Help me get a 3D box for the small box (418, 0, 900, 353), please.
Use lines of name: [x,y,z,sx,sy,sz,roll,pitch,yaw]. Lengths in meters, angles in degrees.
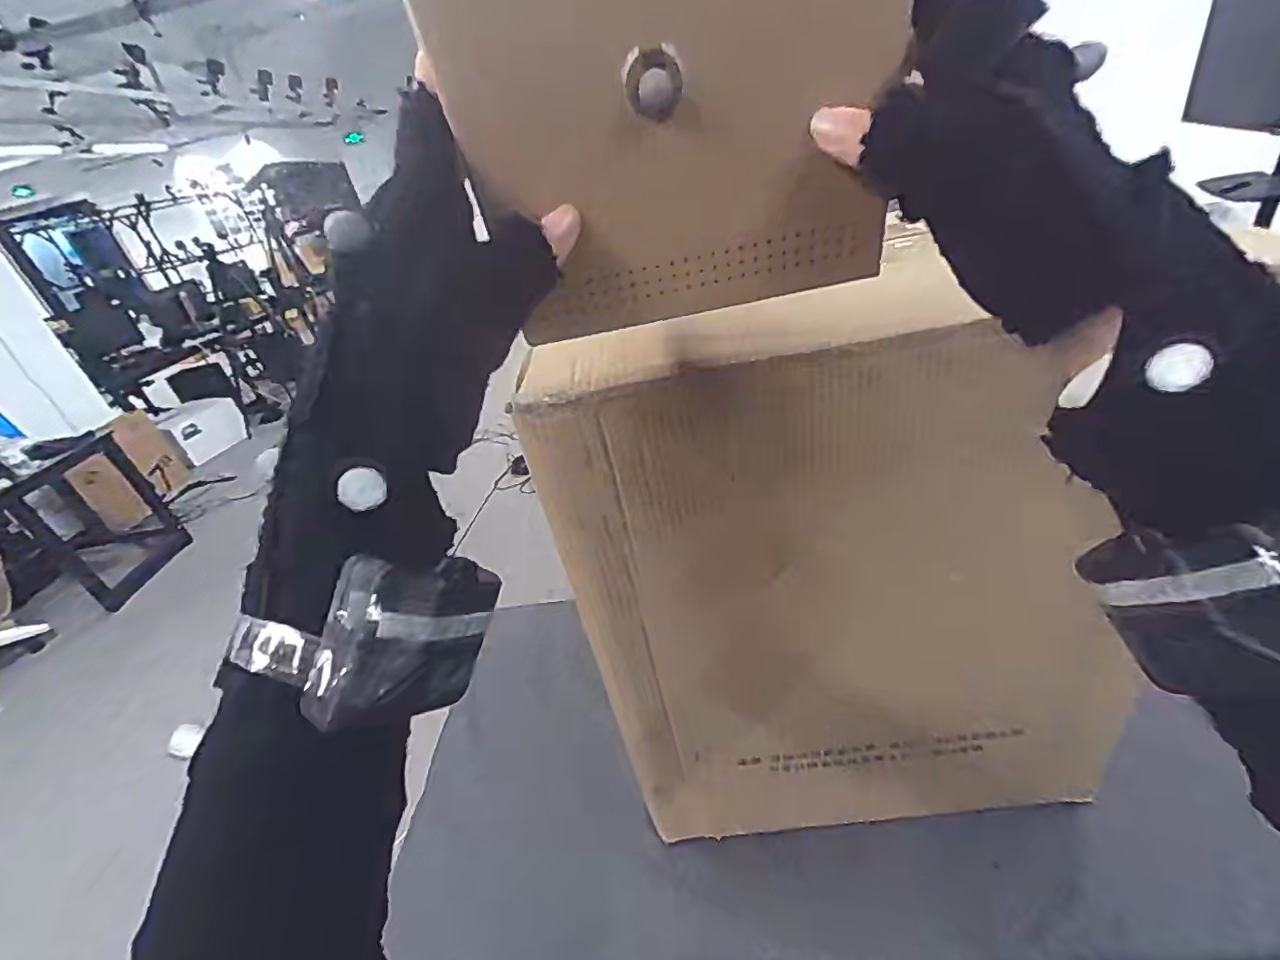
small box: [0.009,-0.187,0.277,0.179,0.176,0.168,-11,42,1]
